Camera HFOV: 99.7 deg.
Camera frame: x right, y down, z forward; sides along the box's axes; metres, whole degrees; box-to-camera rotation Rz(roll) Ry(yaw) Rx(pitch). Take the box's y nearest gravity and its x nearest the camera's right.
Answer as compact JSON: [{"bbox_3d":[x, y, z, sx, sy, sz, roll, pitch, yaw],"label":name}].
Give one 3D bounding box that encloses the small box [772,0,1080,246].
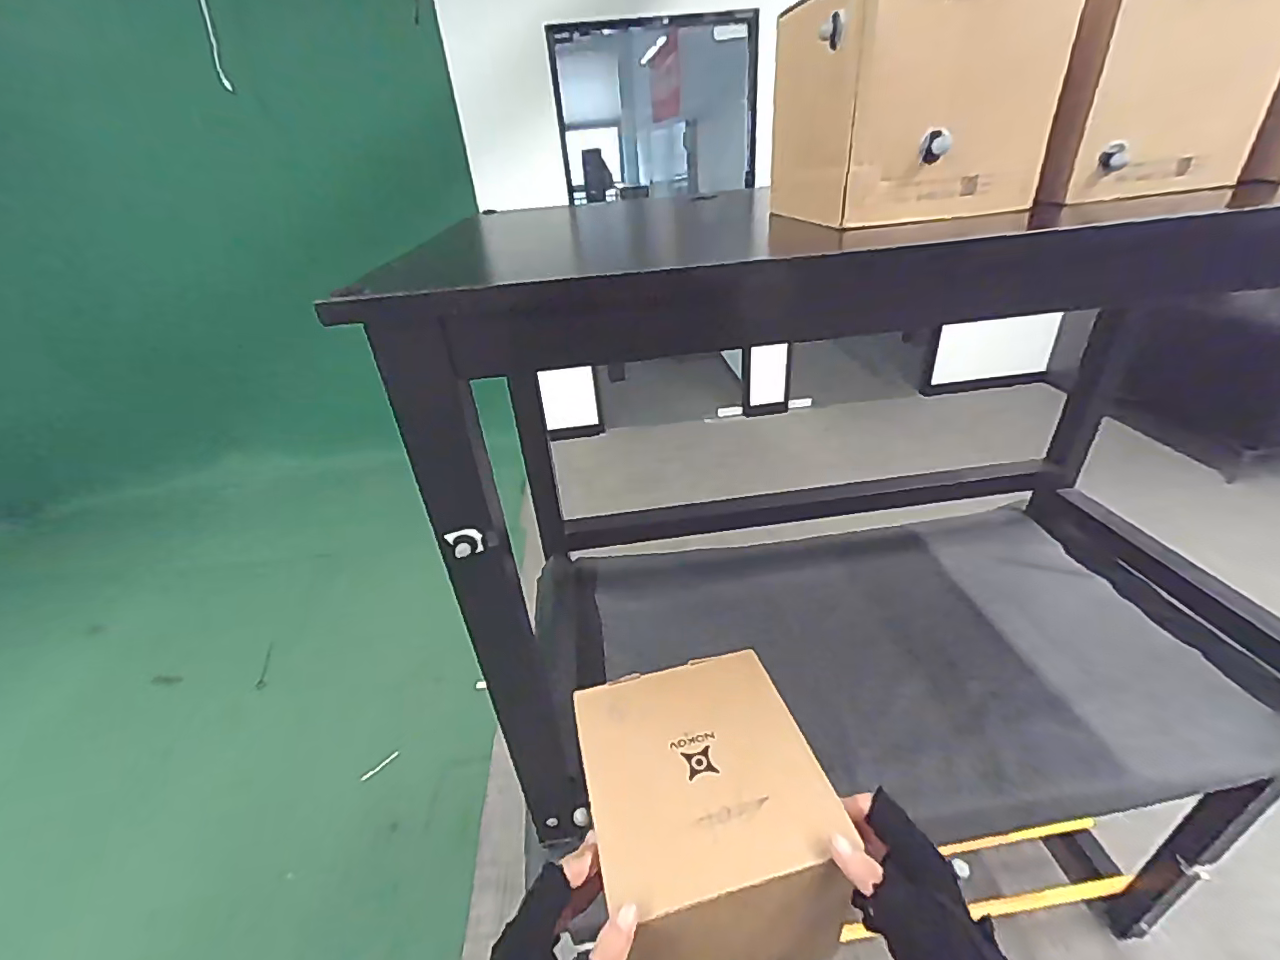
[{"bbox_3d":[0.226,-0.312,0.484,0.168,0.176,0.179,-8,32,-5],"label":"small box"}]
